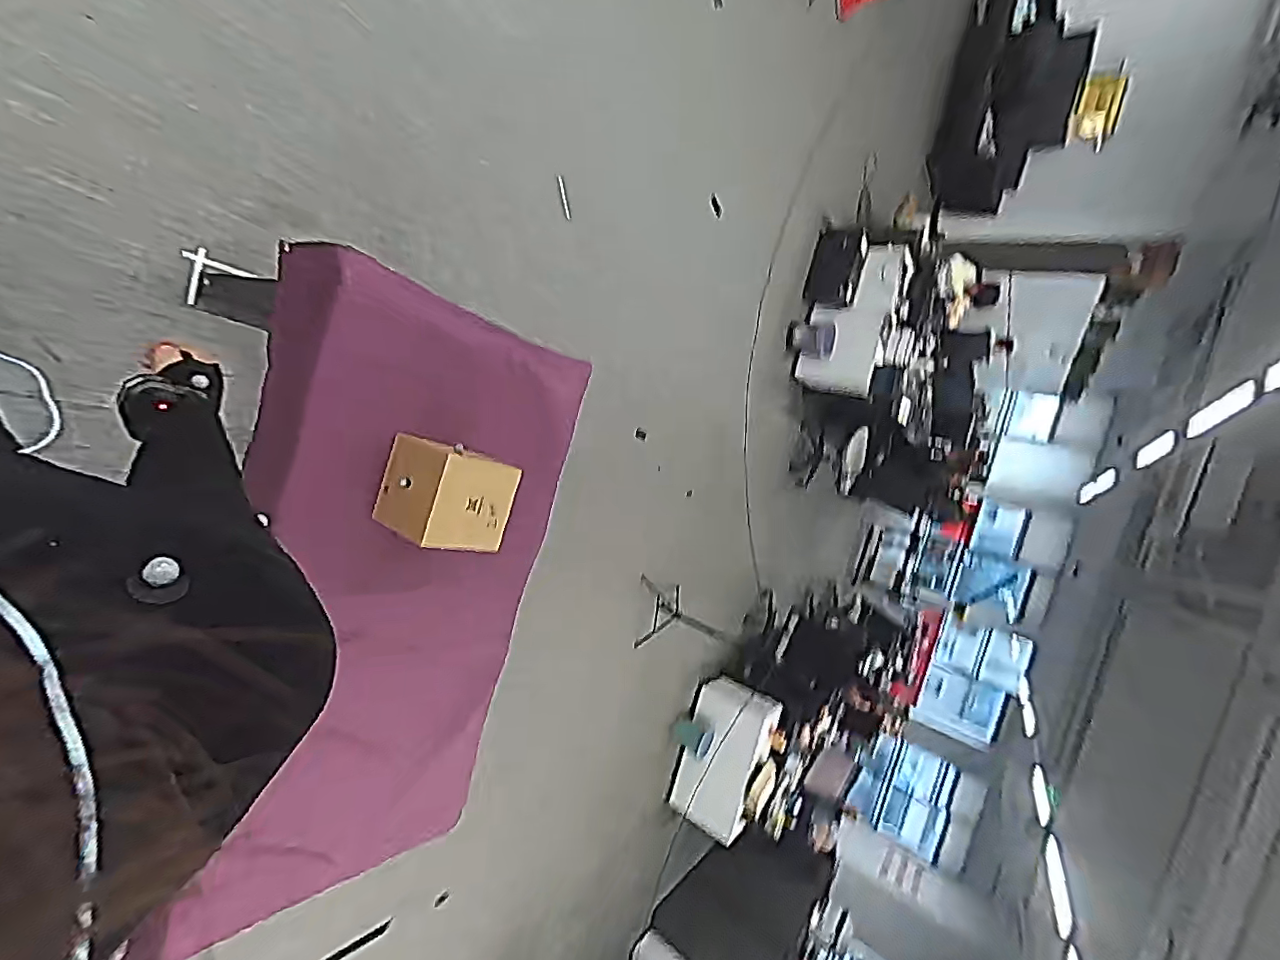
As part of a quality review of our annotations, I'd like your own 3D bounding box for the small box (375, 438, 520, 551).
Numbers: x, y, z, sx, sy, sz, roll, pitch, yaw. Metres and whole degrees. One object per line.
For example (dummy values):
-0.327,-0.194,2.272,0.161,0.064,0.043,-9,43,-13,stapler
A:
-0.366,0.027,1.026,0.179,0.176,0.168,17,91,-56,small box
